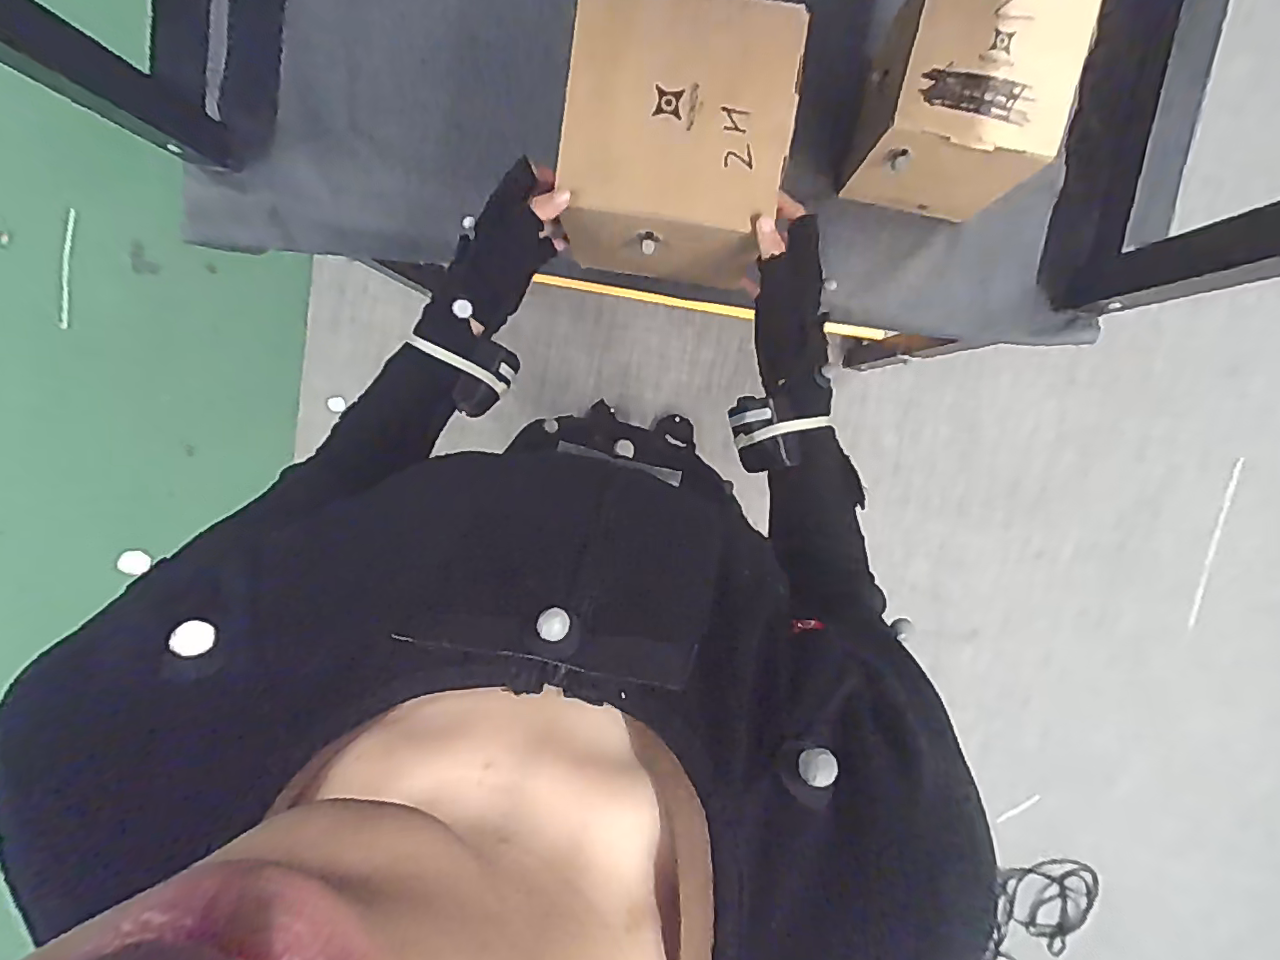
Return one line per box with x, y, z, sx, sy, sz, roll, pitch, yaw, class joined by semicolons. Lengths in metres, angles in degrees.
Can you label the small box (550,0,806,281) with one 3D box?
0.029;-0.294;0.493;0.179;0.176;0.168;9;97;0;small box
